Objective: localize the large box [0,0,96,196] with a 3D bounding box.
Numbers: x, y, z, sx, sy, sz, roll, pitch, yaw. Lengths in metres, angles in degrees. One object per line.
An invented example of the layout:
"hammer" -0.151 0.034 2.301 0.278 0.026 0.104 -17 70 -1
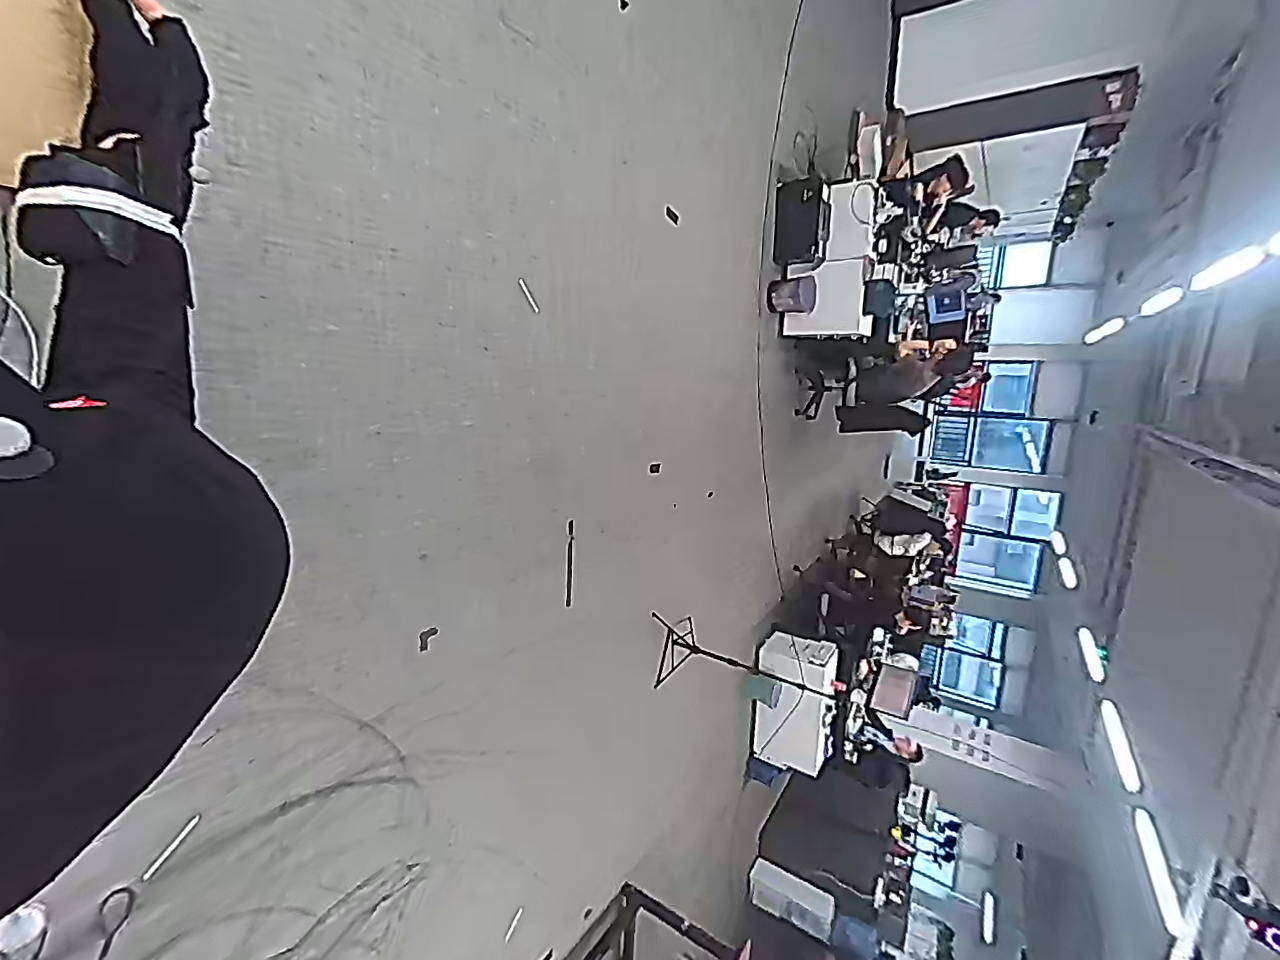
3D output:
"large box" -0.624 -0.394 0.292 0.408 0.320 0.320 -6 112 -61
